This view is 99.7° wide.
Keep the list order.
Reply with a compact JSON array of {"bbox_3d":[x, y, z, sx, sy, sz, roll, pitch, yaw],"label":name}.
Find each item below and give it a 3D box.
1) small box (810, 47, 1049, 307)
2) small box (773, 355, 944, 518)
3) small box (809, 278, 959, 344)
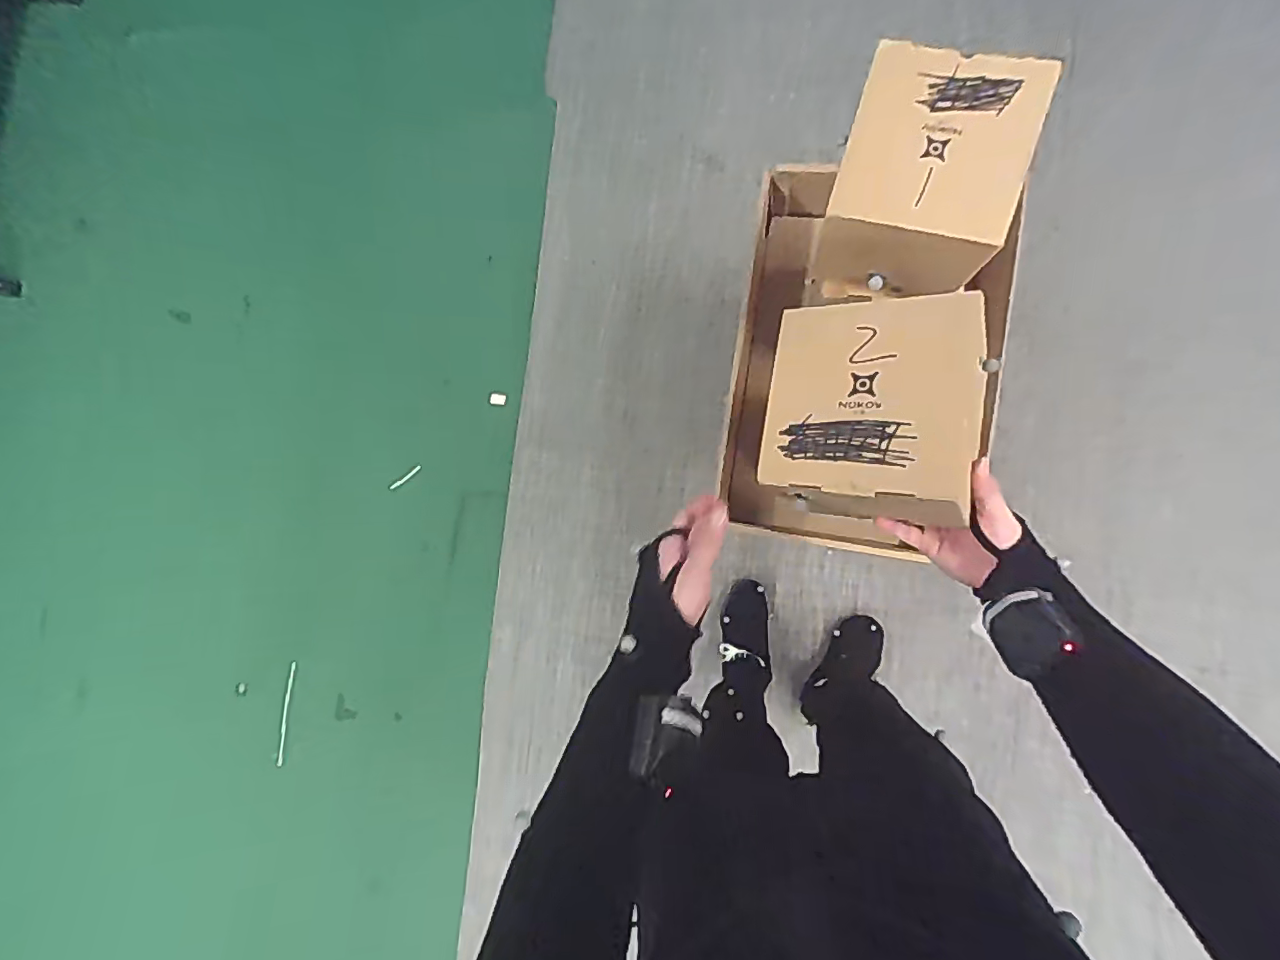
[{"bbox_3d":[0.295,-0.317,0.596,0.168,0.176,0.179,17,92,13],"label":"small box"},{"bbox_3d":[0.285,-0.051,0.743,0.168,0.176,0.179,14,88,12],"label":"small box"},{"bbox_3d":[0.335,-0.304,0.754,0.168,0.176,0.179,7,89,13],"label":"small box"}]
